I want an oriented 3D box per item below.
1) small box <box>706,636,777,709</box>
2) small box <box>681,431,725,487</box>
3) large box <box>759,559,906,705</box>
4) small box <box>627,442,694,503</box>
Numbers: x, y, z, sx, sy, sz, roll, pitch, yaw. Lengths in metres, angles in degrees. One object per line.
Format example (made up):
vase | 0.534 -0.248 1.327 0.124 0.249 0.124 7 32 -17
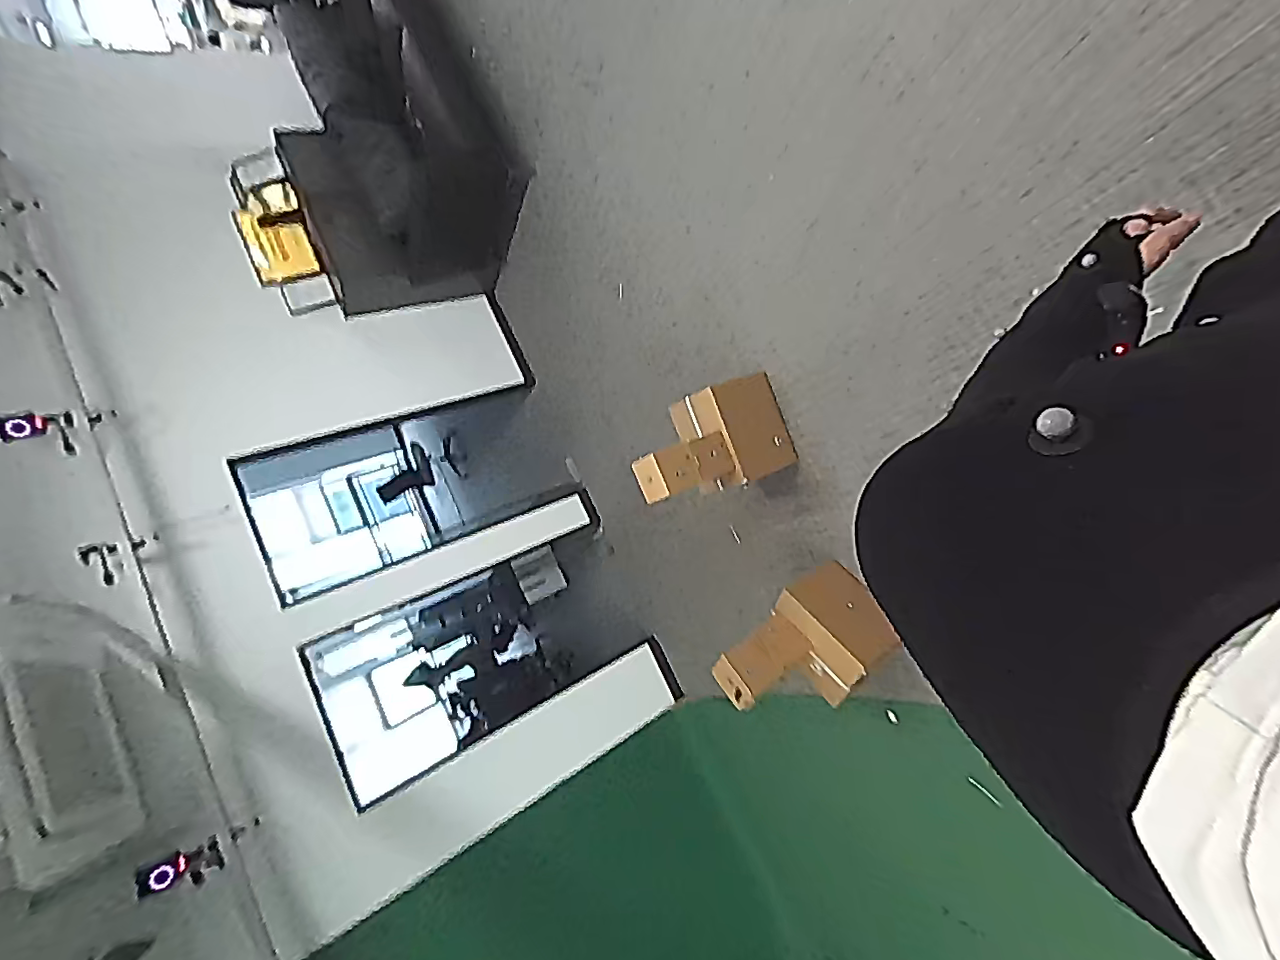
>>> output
small box | 0.384 0.724 2.042 0.179 0.176 0.168 51 146 28
small box | 0.214 -0.078 2.128 0.179 0.176 0.168 -24 88 58
large box | 0.760 0.598 2.178 0.408 0.320 0.320 44 143 33
small box | 0.083 -0.029 2.043 0.179 0.176 0.168 -25 87 60
